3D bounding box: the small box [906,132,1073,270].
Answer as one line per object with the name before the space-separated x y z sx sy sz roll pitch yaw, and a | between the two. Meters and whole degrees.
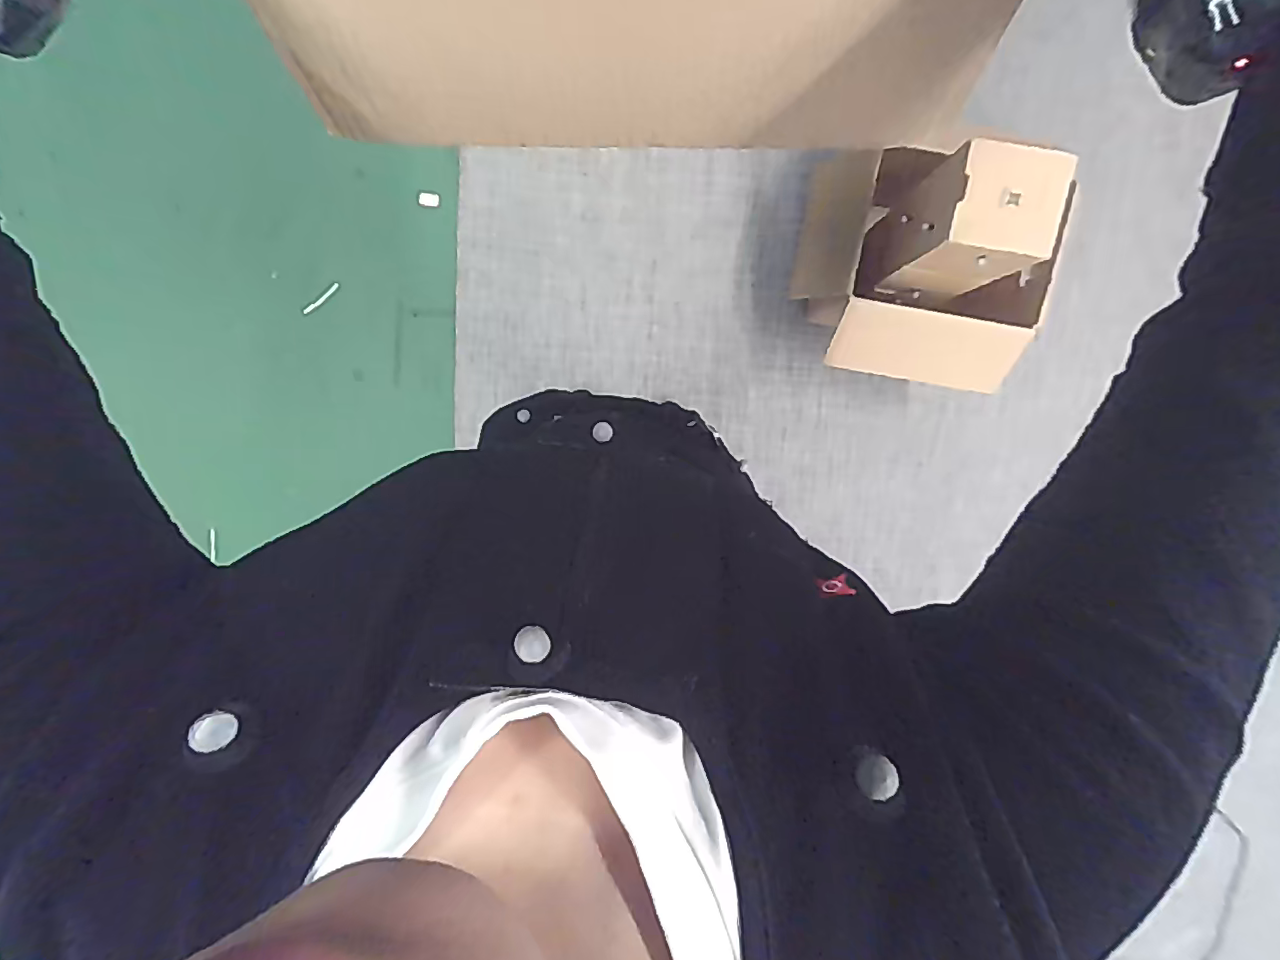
small box | 0.611 -0.488 0.972 0.179 0.176 0.168 8 99 0
